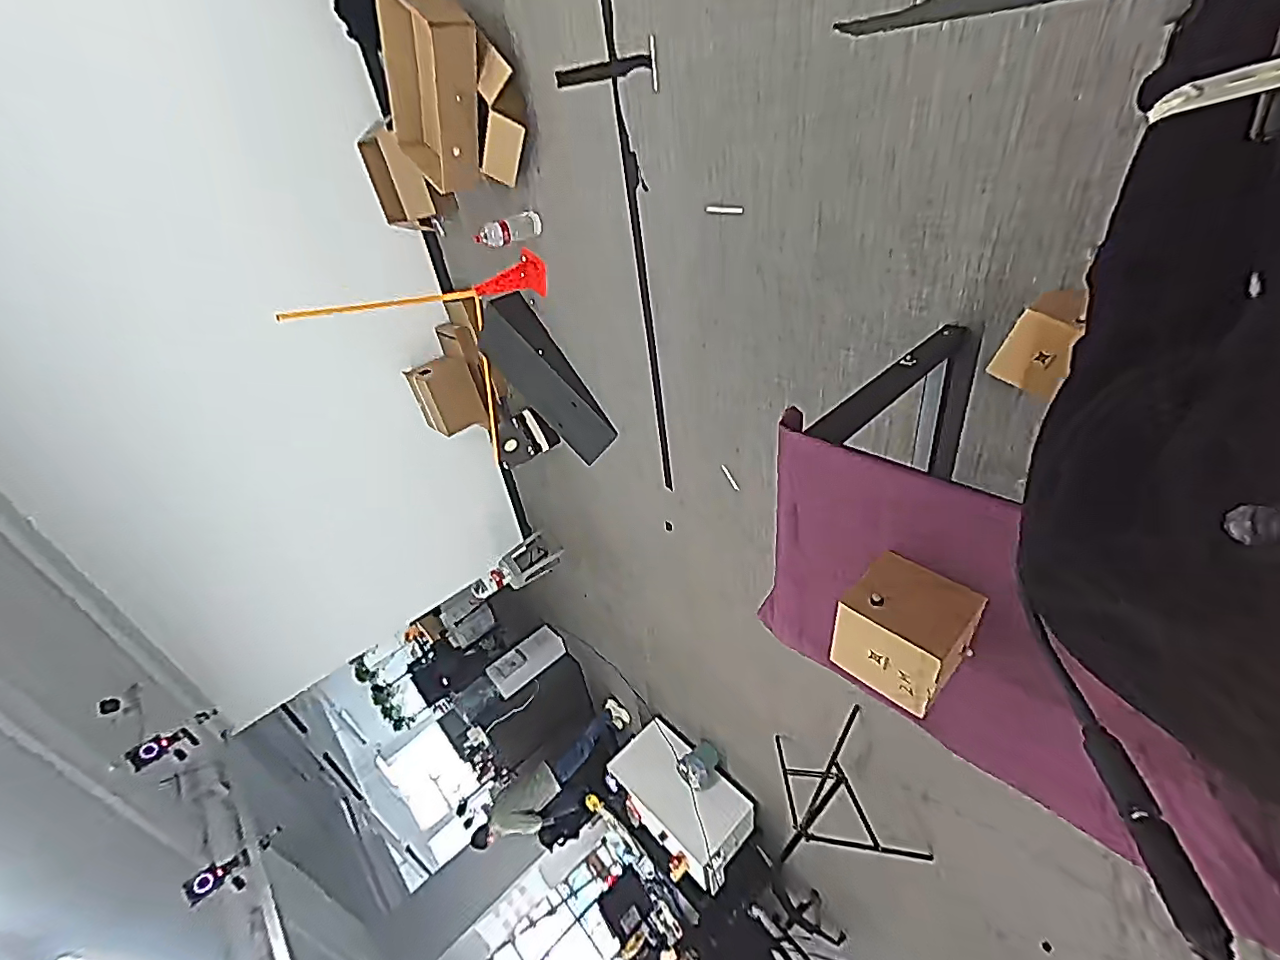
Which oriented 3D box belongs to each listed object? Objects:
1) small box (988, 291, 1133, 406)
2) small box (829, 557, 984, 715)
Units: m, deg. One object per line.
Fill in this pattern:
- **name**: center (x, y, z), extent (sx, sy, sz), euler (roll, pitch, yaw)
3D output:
- **small box**: center (0.932, -0.300, 1.203), extent (0.179, 0.176, 0.168), euler (39, 145, 26)
- **small box**: center (0.463, 0.262, 0.951), extent (0.179, 0.176, 0.168), euler (29, 140, 39)
